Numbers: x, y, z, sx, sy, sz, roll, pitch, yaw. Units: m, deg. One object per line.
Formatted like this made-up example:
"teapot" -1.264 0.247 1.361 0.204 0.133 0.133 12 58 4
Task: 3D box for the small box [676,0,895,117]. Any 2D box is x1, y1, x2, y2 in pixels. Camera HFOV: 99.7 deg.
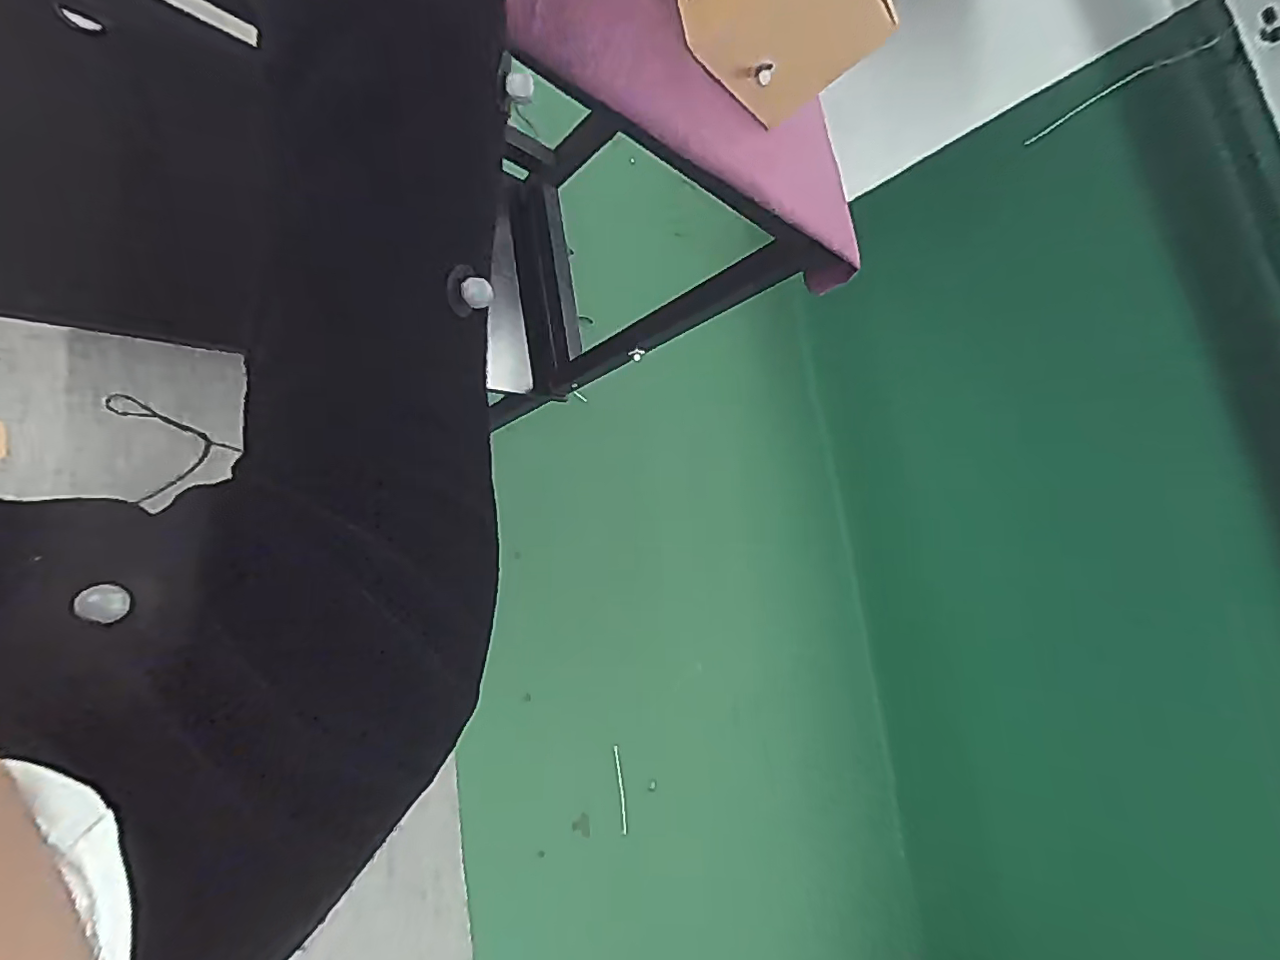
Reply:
"small box" 0.151 -0.551 0.597 0.179 0.176 0.168 2 73 -47
